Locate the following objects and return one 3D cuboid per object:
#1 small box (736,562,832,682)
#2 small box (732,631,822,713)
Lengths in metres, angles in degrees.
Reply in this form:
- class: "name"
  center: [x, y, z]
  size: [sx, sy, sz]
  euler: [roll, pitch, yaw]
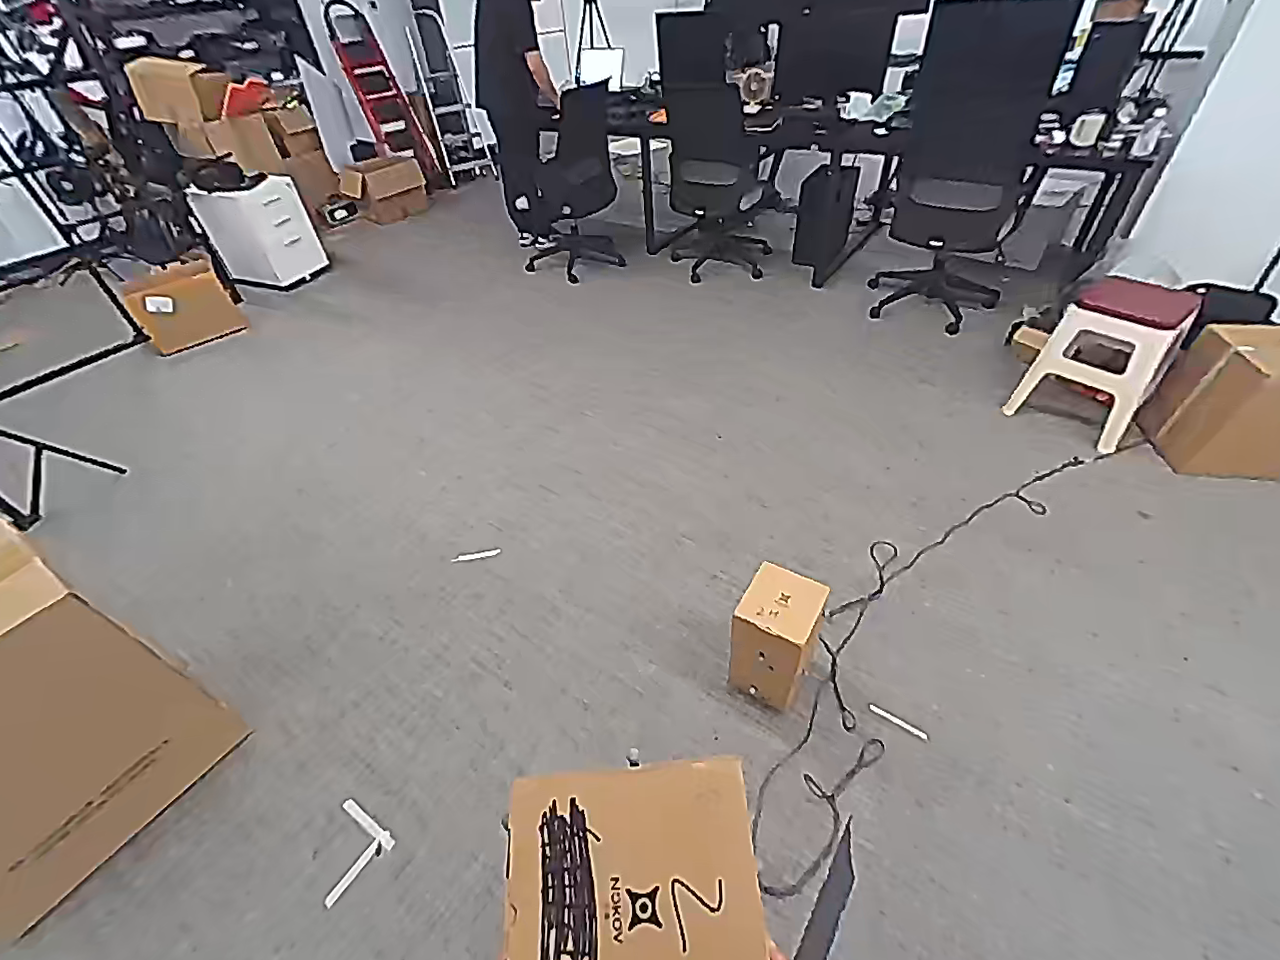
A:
- class: "small box"
  center: [0.332, 0.333, 1.272]
  size: [0.168, 0.176, 0.179]
  euler: [21, 49, 27]
- class: "small box"
  center: [0.343, 0.454, 1.384]
  size: [0.168, 0.176, 0.179]
  euler: [23, 50, 27]
